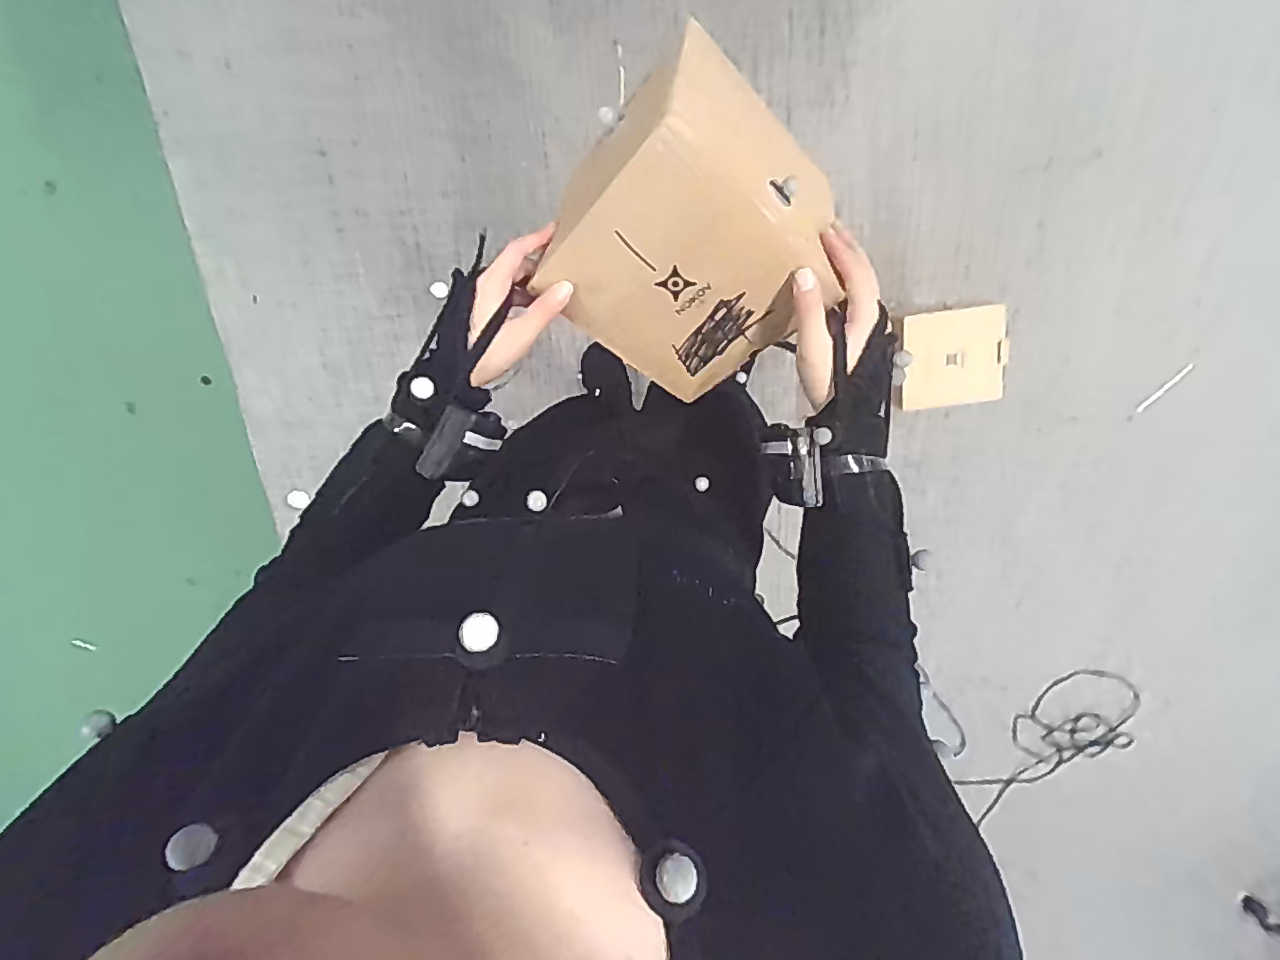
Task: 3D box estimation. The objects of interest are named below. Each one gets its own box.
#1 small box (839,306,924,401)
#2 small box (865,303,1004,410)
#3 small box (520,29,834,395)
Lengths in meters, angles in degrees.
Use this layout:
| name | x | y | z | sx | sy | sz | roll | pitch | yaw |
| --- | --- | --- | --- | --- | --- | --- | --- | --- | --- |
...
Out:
| name | x | y | z | sx | sy | sz | roll | pitch | yaw |
| --- | --- | --- | --- | --- | --- | --- | --- | --- | --- |
| small box | 0.541 | -0.279 | 1.174 | 0.168 | 0.176 | 0.179 | -7 | 108 | 4 |
| small box | 0.541 | -0.237 | 1.015 | 0.179 | 0.176 | 0.168 | -8 | 107 | 5 |
| small box | 0.033 | -0.209 | 0.442 | 0.179 | 0.176 | 0.168 | 30 | 139 | -29 |
